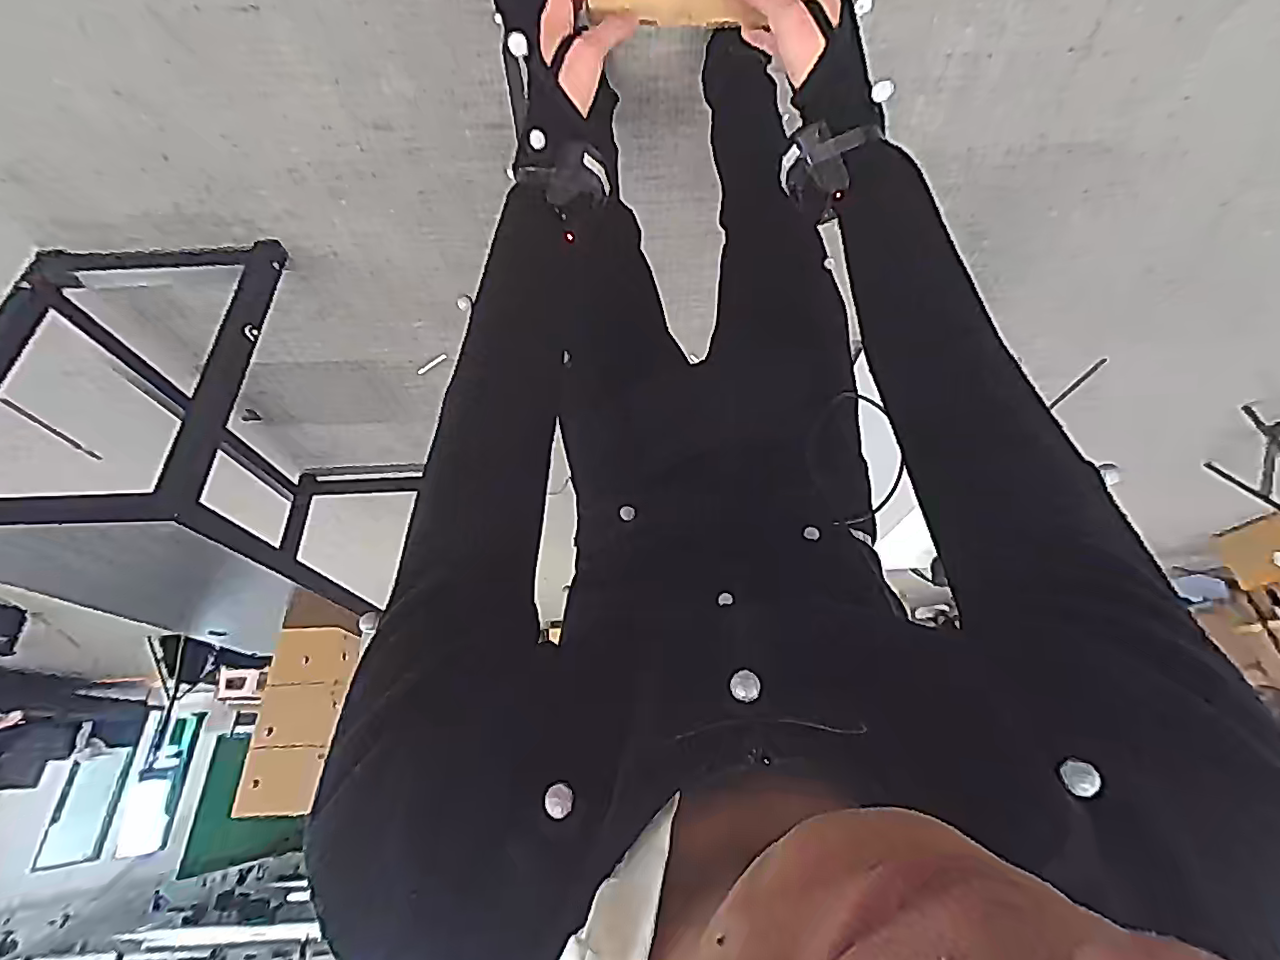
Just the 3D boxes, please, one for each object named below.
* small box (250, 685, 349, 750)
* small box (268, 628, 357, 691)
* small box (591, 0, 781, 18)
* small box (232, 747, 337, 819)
[{"bbox_3d":[-1.005,0.711,1.611,0.179,0.176,0.168,-3,153,0],"label":"small box"},{"bbox_3d":[-1.010,0.565,1.688,0.179,0.176,0.168,-3,152,0],"label":"small box"},{"bbox_3d":[0.034,-0.513,0.450,0.168,0.176,0.179,-3,139,-4],"label":"small box"},{"bbox_3d":[-0.997,0.854,1.534,0.179,0.176,0.168,-3,153,0],"label":"small box"}]
